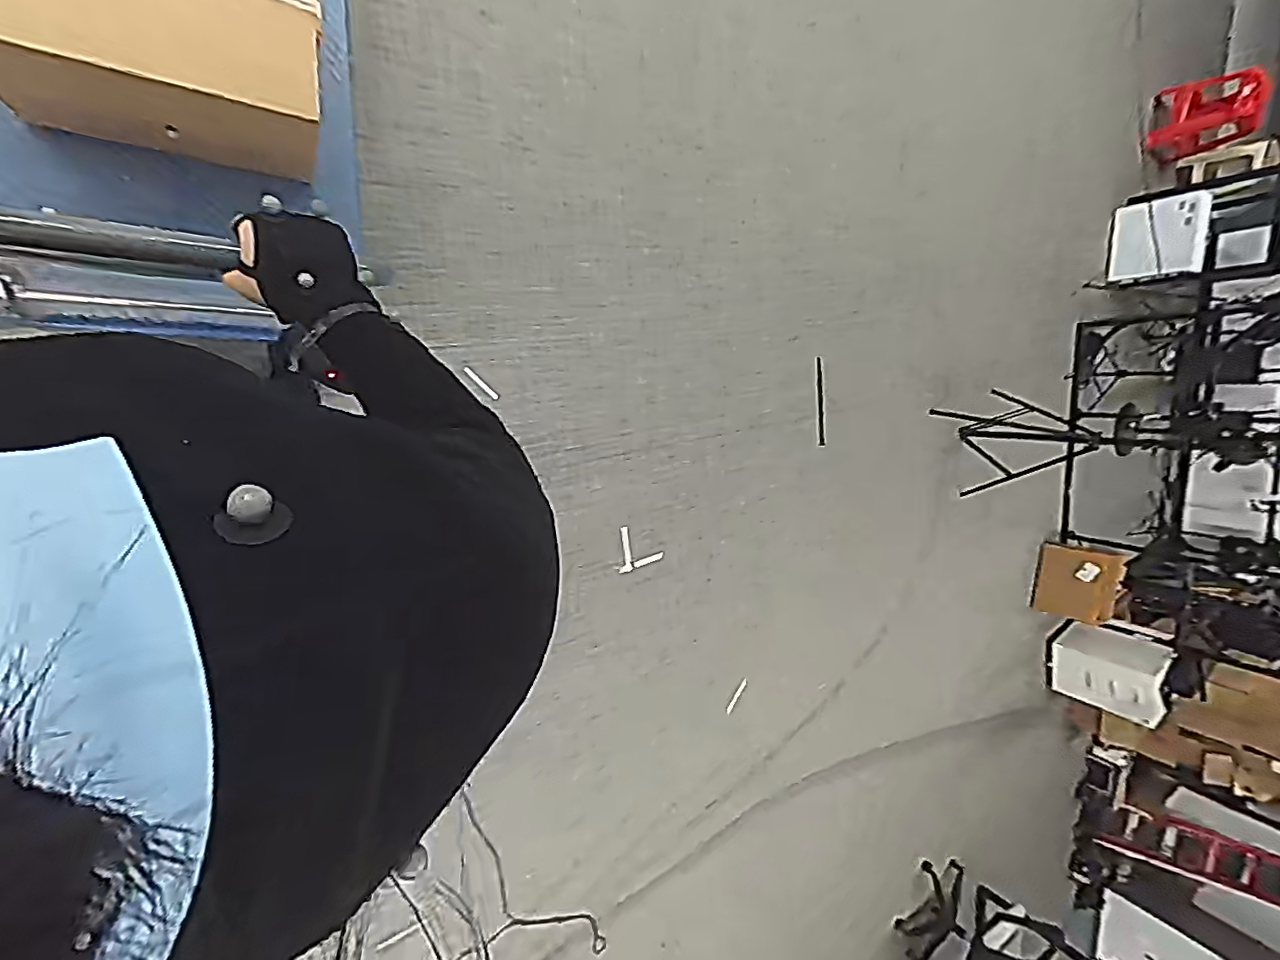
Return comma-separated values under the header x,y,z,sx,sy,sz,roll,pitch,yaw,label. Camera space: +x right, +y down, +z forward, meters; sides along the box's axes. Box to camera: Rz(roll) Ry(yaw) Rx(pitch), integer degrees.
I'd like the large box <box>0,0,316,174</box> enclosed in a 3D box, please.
x,y,z,sx,sy,sz,roll,pitch,yaw,label
-0.745,-0.717,0.829,0.408,0.320,0.320,-4,100,-32,large box
